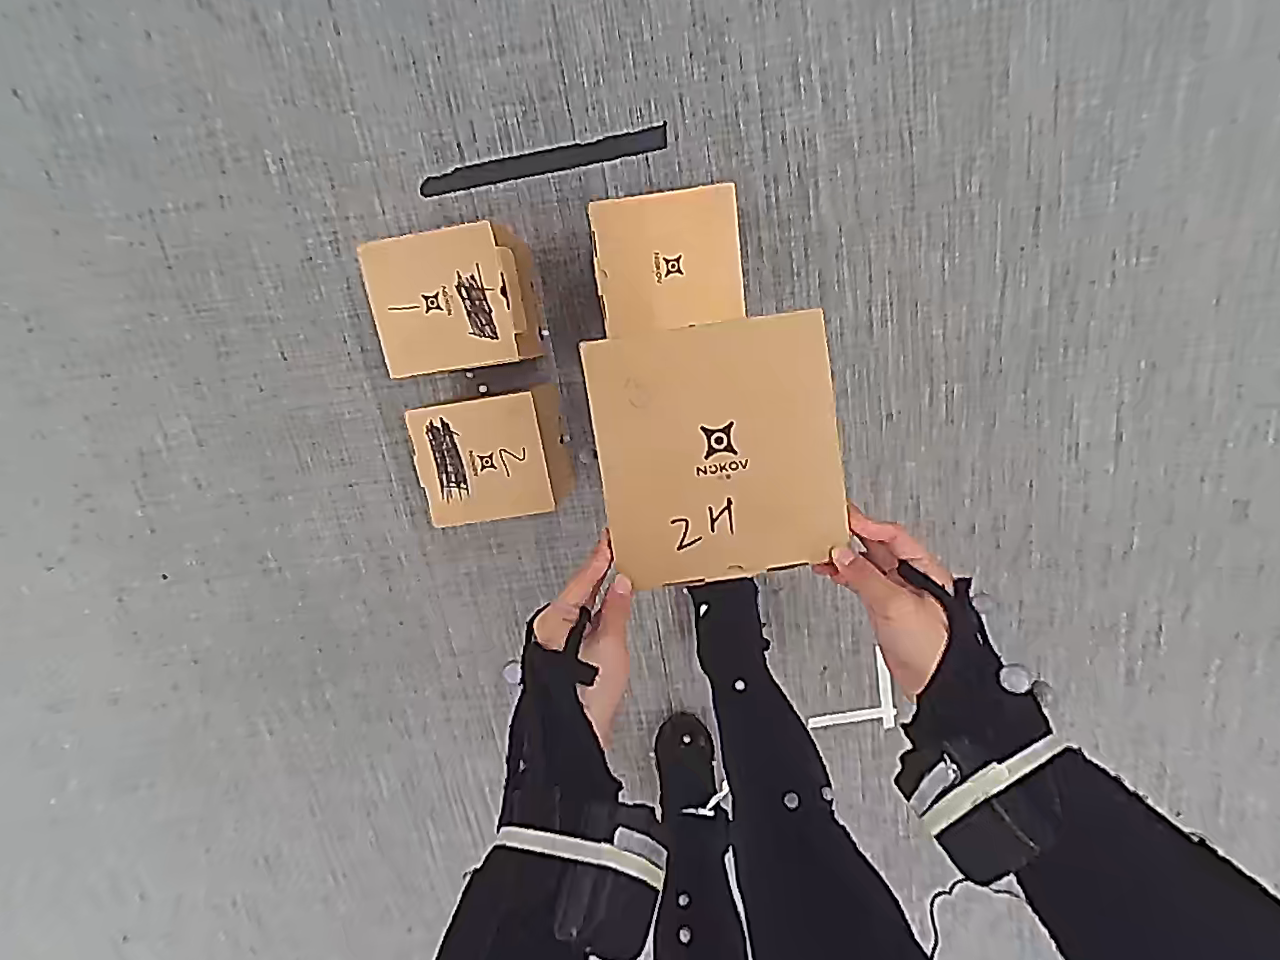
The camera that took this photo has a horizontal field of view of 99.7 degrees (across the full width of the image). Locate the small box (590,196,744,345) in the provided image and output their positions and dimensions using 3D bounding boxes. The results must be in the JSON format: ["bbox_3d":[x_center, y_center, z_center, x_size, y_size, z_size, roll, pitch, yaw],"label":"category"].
[{"bbox_3d":[0.037,-0.270,0.739,0.179,0.176,0.168,-7,105,4],"label":"small box"}]

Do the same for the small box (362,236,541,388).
[{"bbox_3d":[-0.244,-0.230,0.757,0.179,0.176,0.168,-8,104,5],"label":"small box"}]

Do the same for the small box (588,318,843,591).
[{"bbox_3d":[0.052,-0.022,0.459,0.168,0.176,0.179,-8,95,0],"label":"small box"}]
